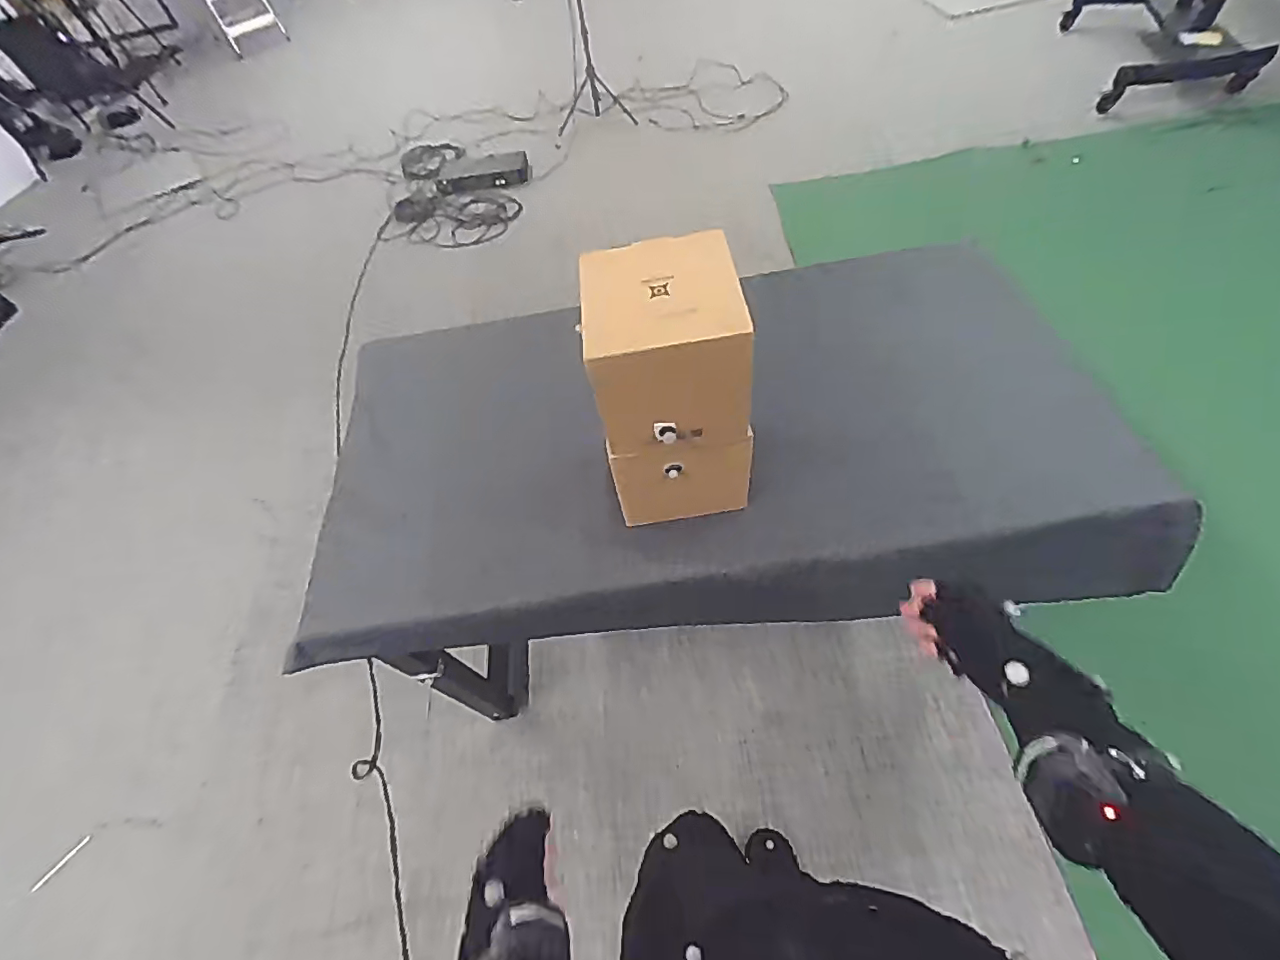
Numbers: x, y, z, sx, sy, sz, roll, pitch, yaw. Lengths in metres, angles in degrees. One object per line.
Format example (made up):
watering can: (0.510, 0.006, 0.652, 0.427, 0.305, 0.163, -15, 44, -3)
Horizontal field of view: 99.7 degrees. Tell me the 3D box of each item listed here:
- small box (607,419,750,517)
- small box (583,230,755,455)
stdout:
small box: (0.051, -0.063, 0.764, 0.179, 0.176, 0.168, -9, 56, 1)
small box: (0.033, -0.155, 0.632, 0.168, 0.176, 0.179, -10, 57, 3)
